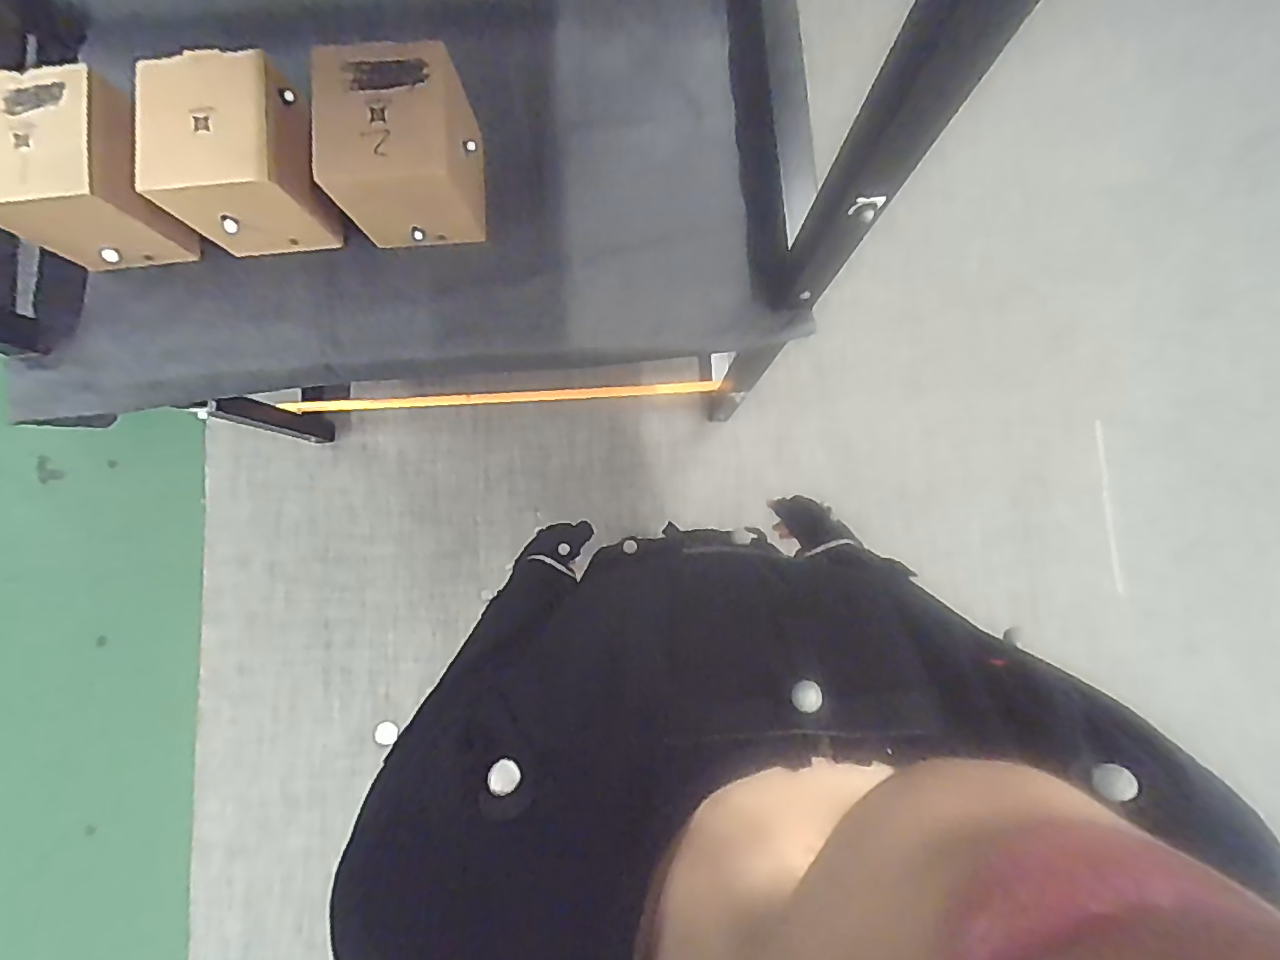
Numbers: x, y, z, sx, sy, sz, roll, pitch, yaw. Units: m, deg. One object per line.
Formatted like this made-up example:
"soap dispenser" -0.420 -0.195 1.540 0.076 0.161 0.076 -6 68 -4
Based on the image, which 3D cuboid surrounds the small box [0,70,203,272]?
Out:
"small box" -0.753 -0.417 0.752 0.168 0.176 0.179 -6 85 1
